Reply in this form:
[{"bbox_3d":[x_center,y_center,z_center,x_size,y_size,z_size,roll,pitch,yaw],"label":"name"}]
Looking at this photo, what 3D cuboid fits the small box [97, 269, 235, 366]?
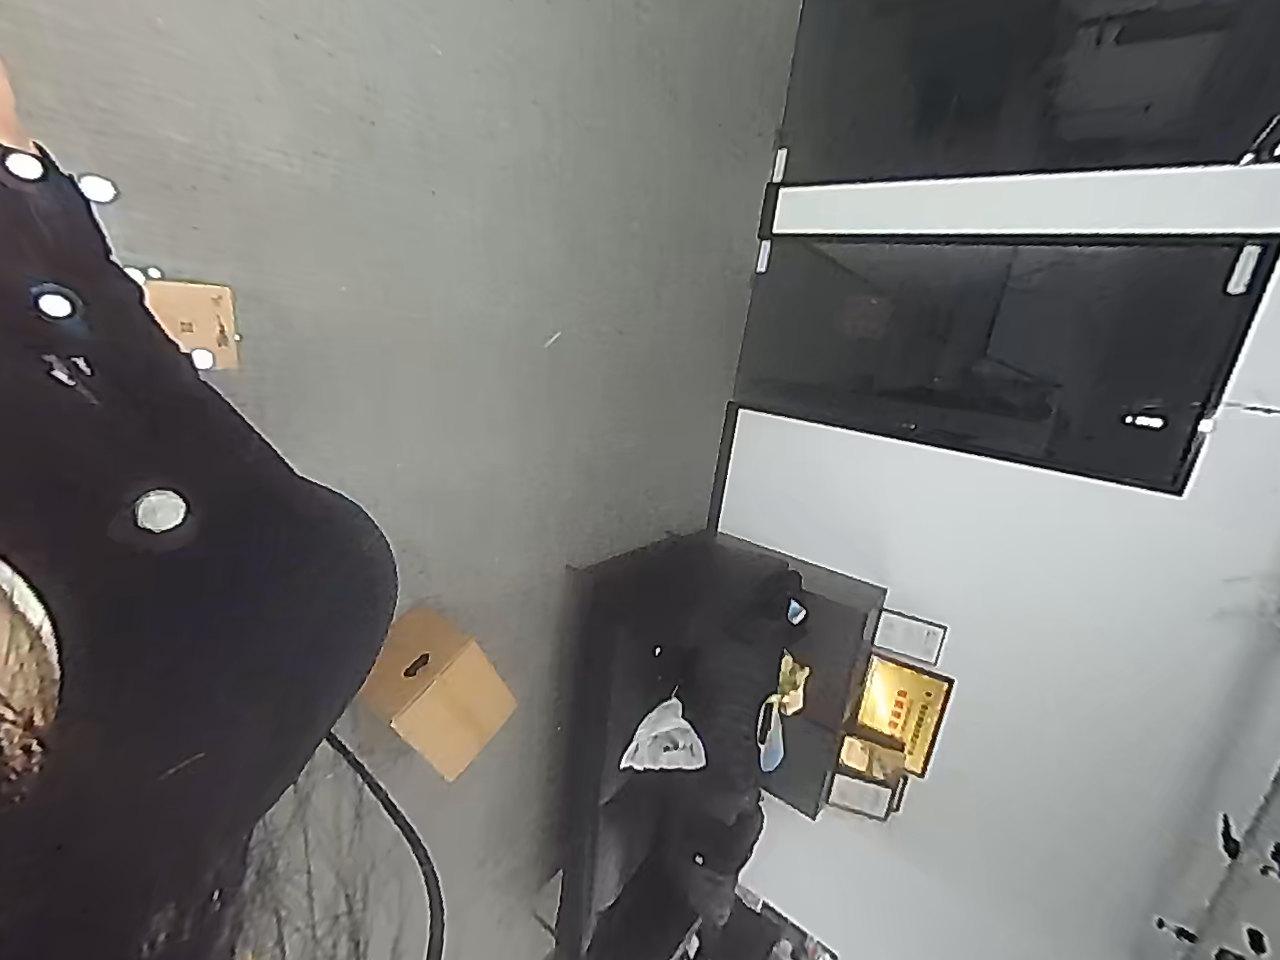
[{"bbox_3d":[-0.953,-0.325,1.086,0.179,0.176,0.168,-14,117,-52],"label":"small box"}]
